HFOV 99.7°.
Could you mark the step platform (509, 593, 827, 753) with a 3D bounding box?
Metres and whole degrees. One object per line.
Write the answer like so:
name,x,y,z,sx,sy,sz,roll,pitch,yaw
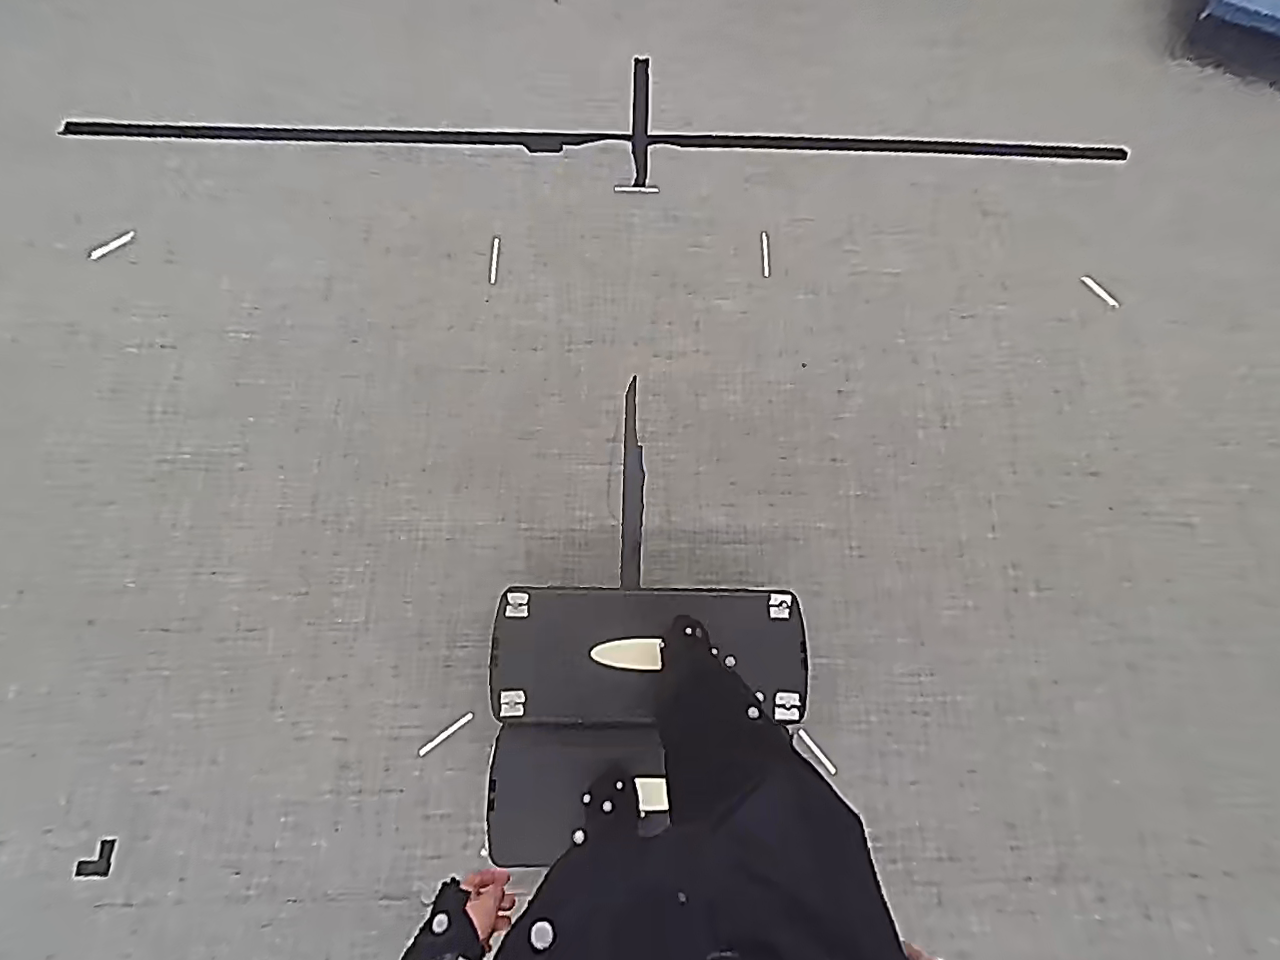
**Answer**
step platform,0.059,0.422,1.207,0.684,0.204,0.286,5,73,-1
